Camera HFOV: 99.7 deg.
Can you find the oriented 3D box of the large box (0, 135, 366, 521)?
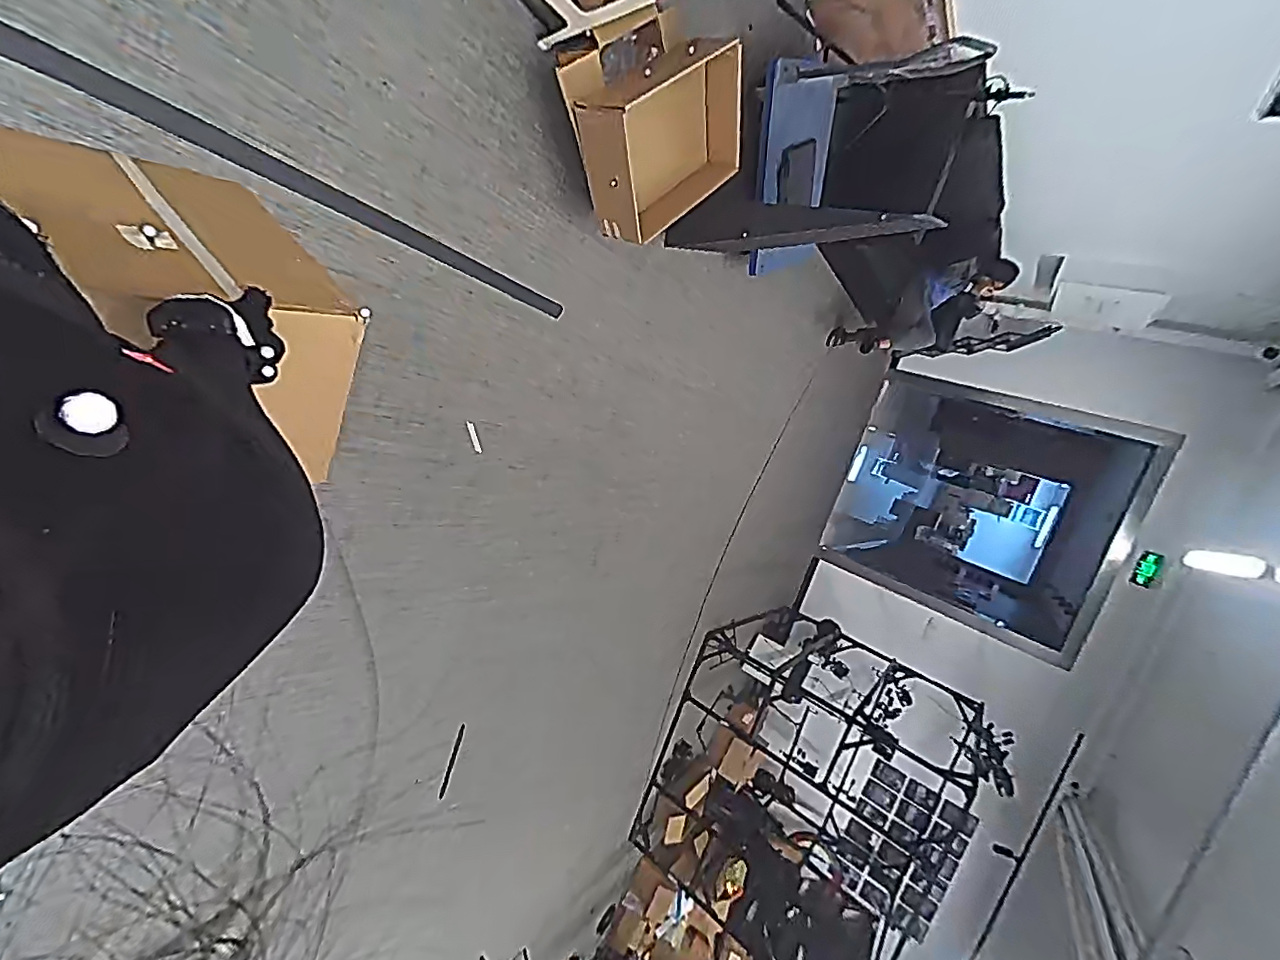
[{"bbox_3d":[-0.679,-0.210,0.778,0.320,0.408,0.320,-19,147,-54],"label":"large box"}]
